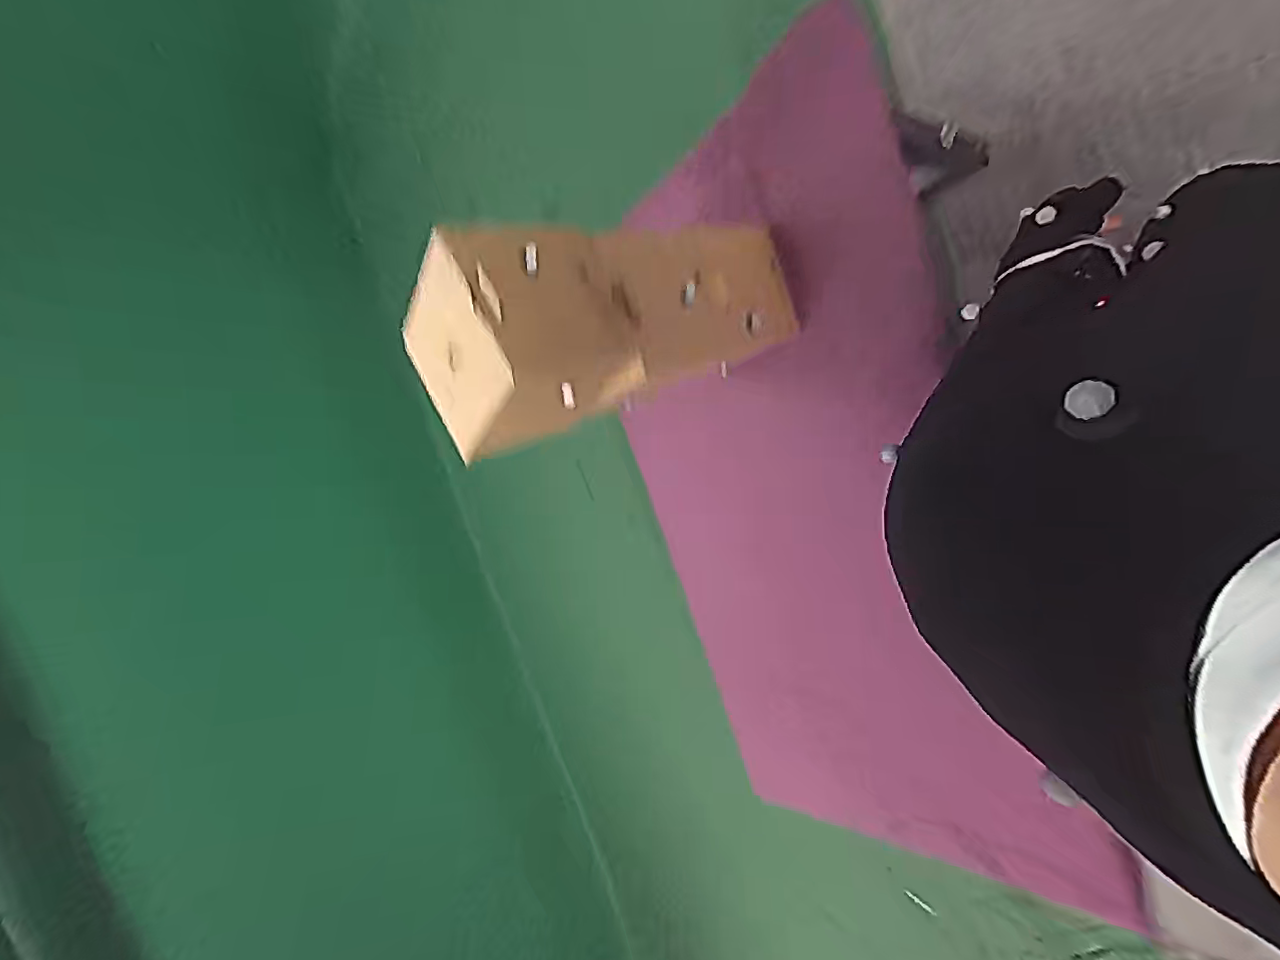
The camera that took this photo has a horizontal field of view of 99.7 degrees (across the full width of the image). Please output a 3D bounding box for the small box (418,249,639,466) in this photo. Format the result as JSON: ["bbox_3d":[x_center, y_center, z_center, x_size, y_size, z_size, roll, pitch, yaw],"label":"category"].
[{"bbox_3d":[-0.124,-0.144,0.621,0.179,0.176,0.168,-38,79,50],"label":"small box"}]

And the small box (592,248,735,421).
[{"bbox_3d":[-0.007,-0.189,0.725,0.179,0.176,0.168,-21,93,50],"label":"small box"}]
